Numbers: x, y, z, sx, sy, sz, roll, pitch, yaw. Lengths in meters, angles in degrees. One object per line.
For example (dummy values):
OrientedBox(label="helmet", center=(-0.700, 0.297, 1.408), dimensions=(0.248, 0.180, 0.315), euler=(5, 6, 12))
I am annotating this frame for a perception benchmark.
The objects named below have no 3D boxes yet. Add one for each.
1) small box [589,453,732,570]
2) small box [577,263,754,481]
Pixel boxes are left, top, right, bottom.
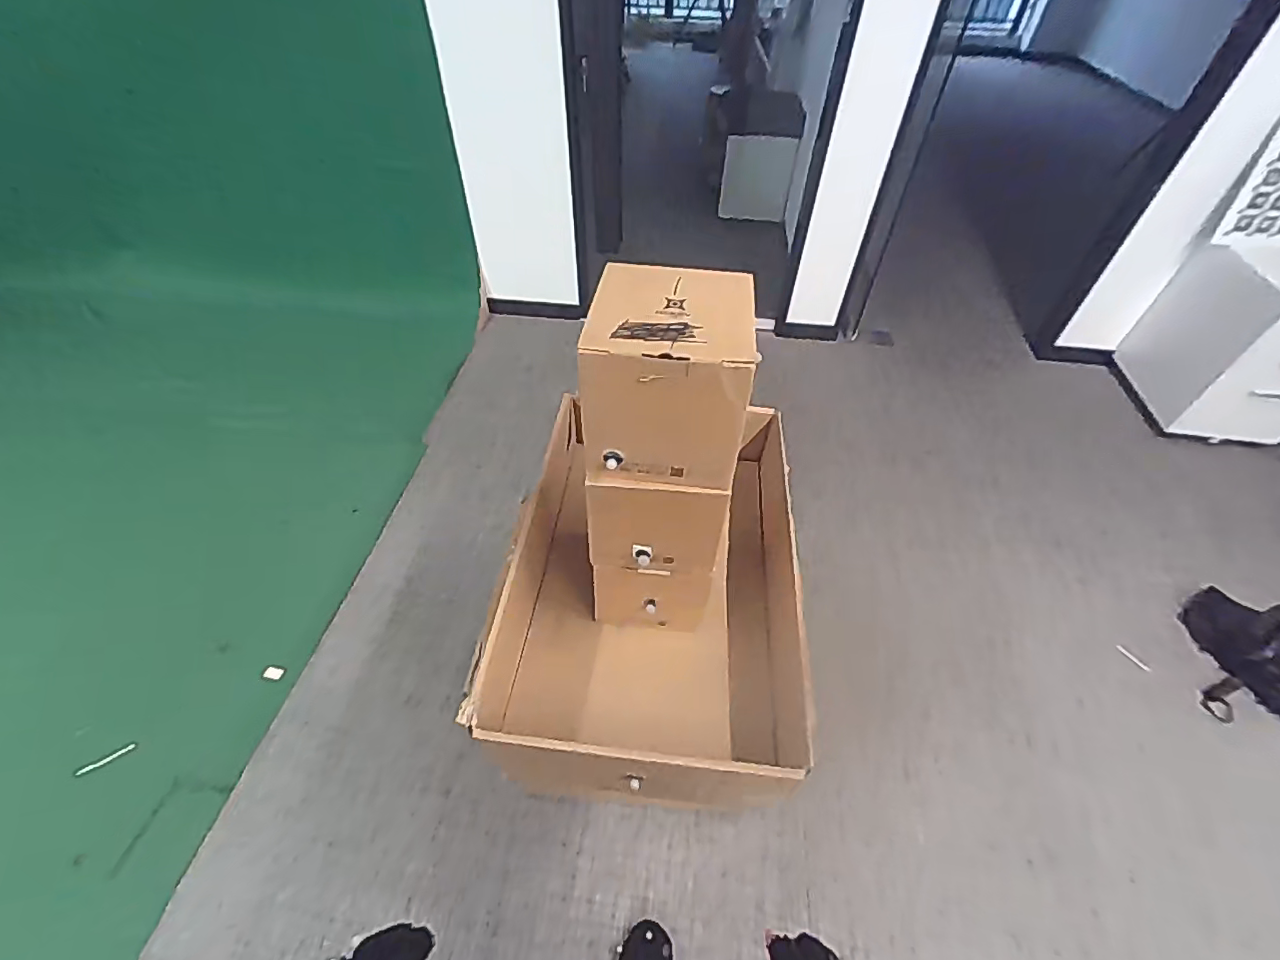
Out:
OrientedBox(label="small box", center=(0.026, -0.002, 0.721), dimensions=(0.168, 0.176, 0.179), euler=(3, 49, 1))
OrientedBox(label="small box", center=(0.032, -0.119, 0.605), dimensions=(0.168, 0.176, 0.179), euler=(6, 47, 4))
